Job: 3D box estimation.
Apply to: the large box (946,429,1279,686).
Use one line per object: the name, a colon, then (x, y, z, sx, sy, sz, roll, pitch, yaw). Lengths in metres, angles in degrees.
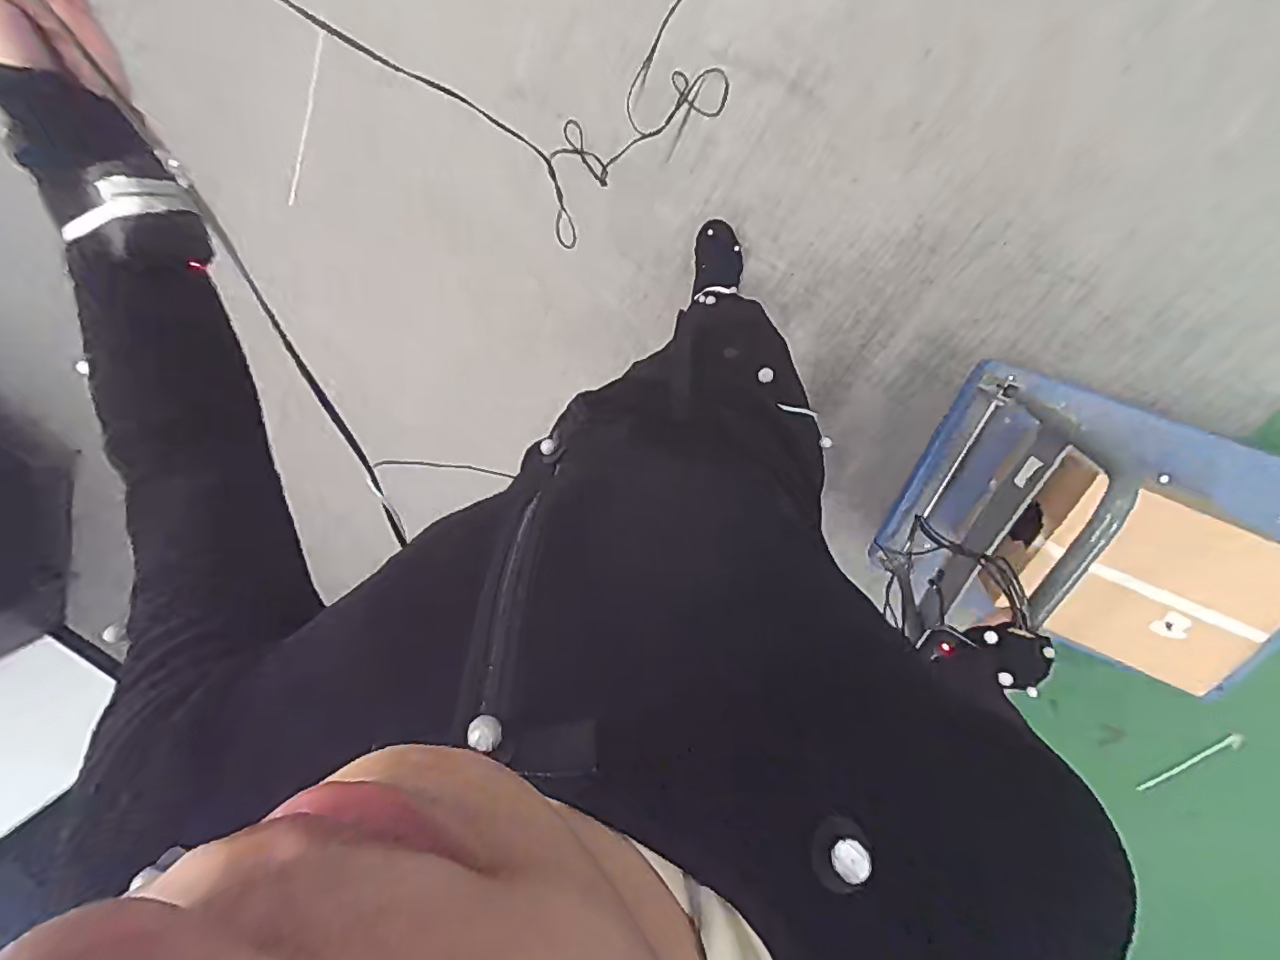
large box: (0.944, 0.137, 1.121, 0.408, 0.320, 0.320, 24, 116, 5)
